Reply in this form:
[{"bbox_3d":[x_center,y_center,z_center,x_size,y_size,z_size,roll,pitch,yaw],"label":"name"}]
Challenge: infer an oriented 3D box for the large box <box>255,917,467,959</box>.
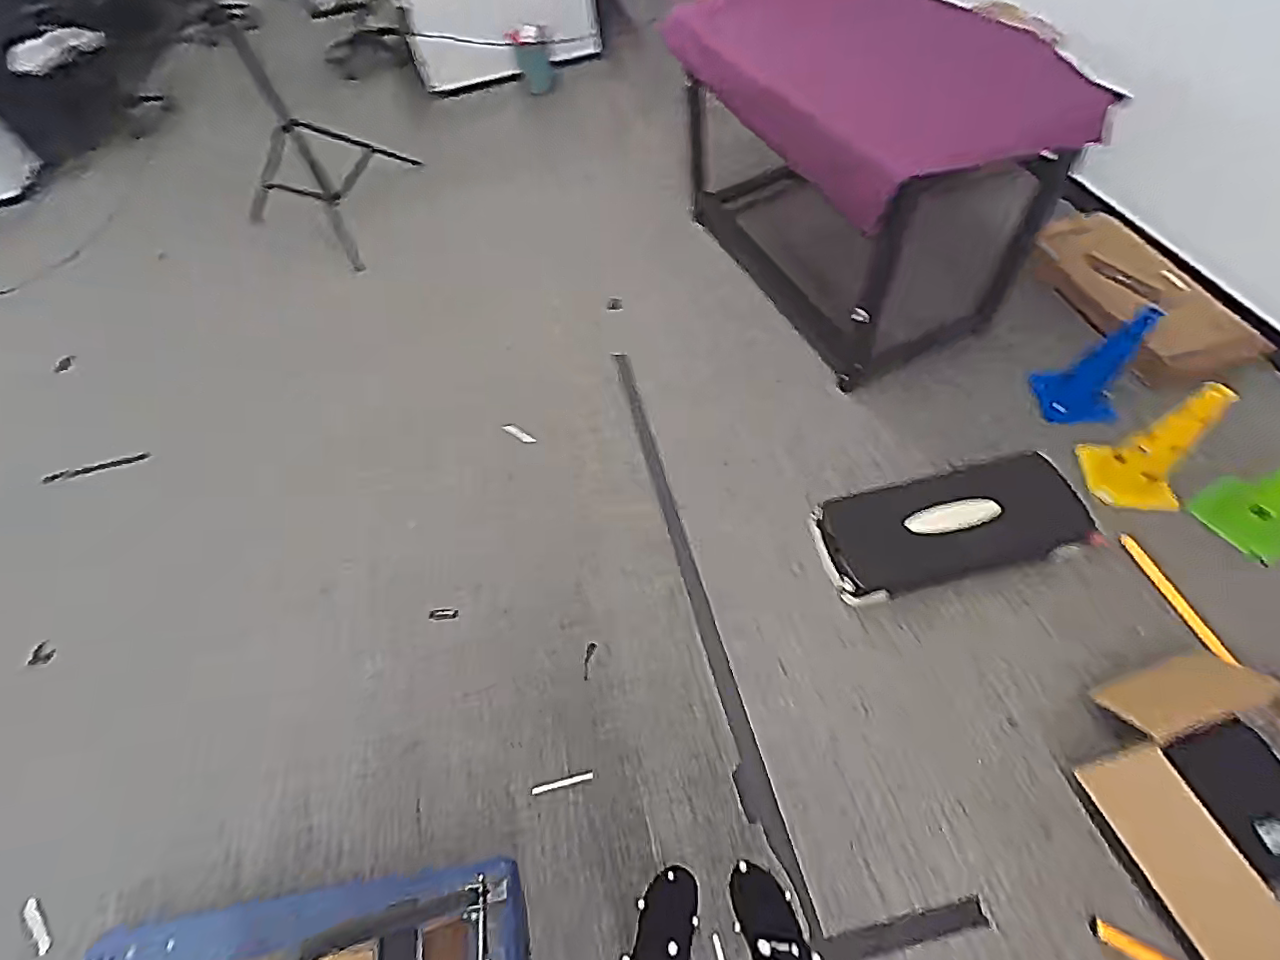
[{"bbox_3d":[-0.465,0.951,0.811,0.320,0.320,0.408,-10,56,0],"label":"large box"}]
